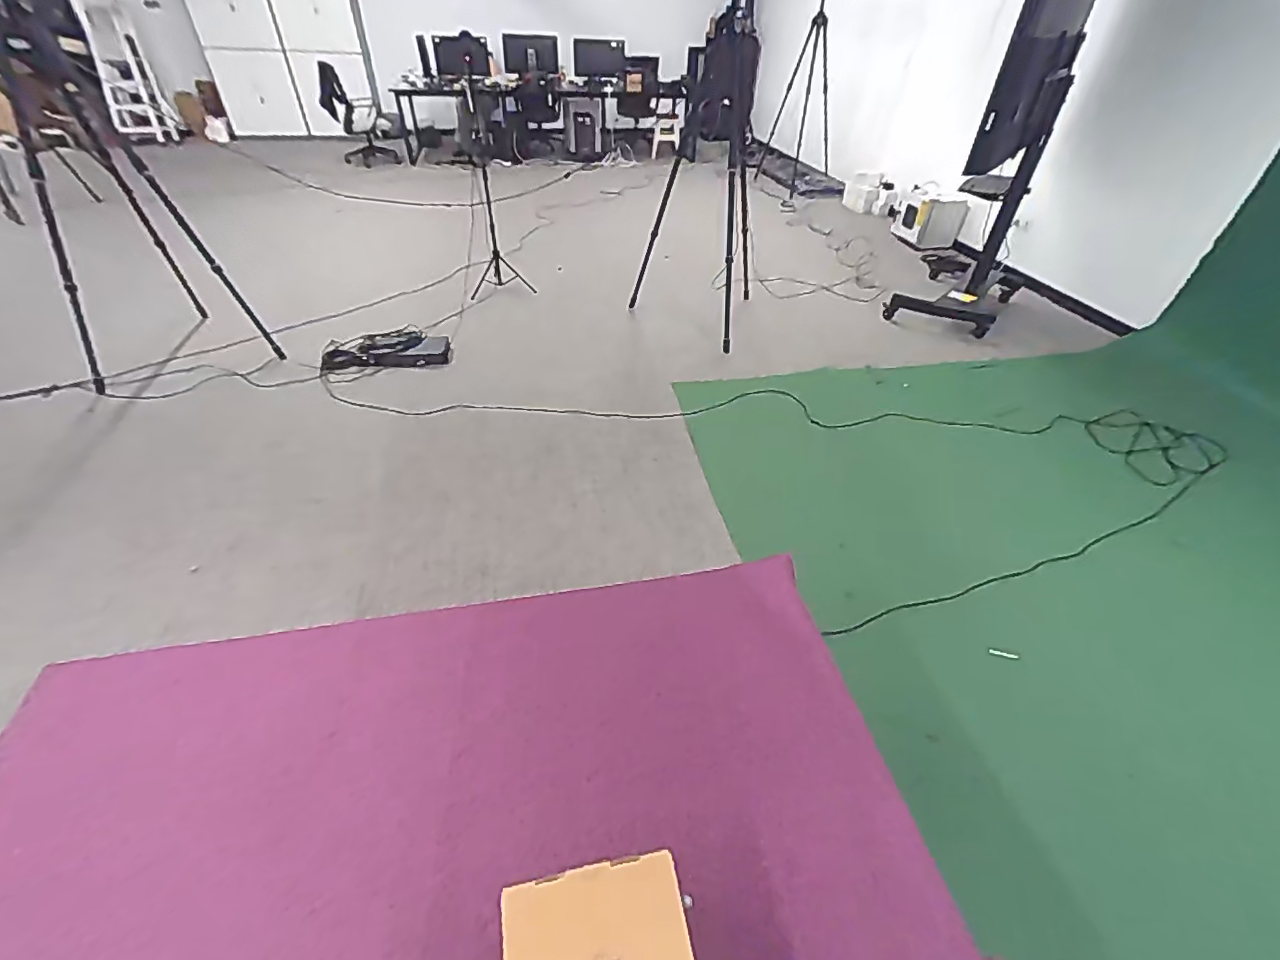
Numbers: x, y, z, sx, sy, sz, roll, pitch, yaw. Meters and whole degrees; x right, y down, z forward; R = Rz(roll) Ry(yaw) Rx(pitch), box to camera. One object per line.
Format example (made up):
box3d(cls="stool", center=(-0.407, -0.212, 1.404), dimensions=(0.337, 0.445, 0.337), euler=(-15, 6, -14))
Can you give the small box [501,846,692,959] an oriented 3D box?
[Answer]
box3d(cls="small box", center=(-0.037, 0.488, 0.515), dimensions=(0.168, 0.176, 0.179), euler=(-6, 42, -12))
